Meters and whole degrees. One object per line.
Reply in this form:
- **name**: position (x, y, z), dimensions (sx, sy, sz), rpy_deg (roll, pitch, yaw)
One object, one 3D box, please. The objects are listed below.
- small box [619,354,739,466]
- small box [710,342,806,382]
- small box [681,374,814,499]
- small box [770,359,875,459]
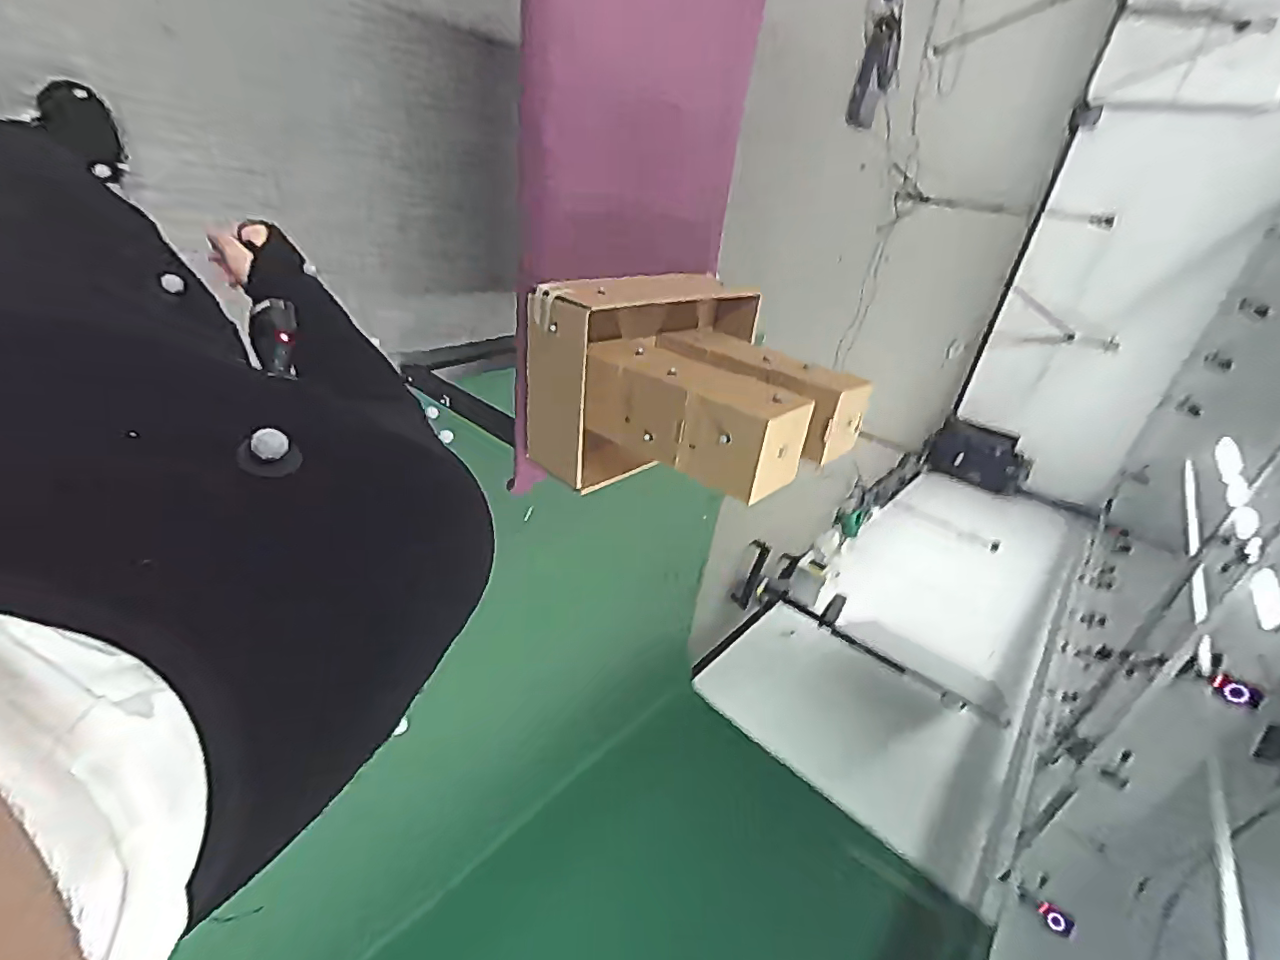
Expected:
- **small box**: position (0.074, -0.150, 1.102), dimensions (0.179, 0.176, 0.168), rpy_deg (-24, 130, -44)
- **small box**: position (0.268, -0.227, 1.300), dimensions (0.179, 0.176, 0.168), rpy_deg (-20, 129, -43)
- **small box**: position (0.196, -0.089, 1.014), dimensions (0.179, 0.176, 0.168), rpy_deg (-25, 131, -44)
- **small box**: position (0.385, -0.165, 1.204), dimensions (0.179, 0.176, 0.168), rpy_deg (-19, 128, -42)
